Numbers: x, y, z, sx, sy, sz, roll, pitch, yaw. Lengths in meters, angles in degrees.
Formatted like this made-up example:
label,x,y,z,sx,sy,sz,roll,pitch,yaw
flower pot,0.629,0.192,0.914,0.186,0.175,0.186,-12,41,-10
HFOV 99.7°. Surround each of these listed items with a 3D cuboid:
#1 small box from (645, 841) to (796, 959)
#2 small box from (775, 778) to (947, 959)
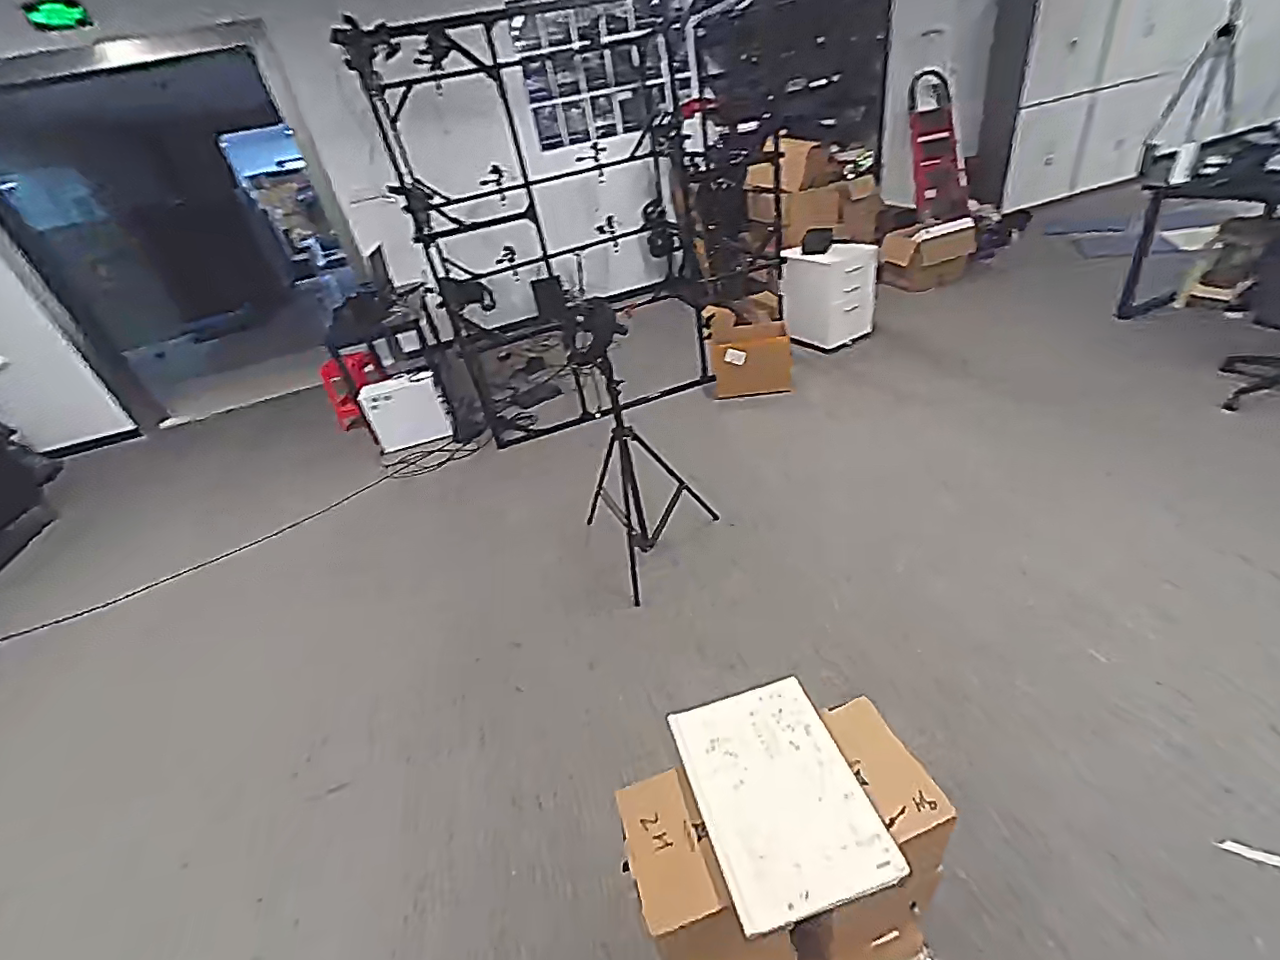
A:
label,x,y,z,sx,sy,sz,roll,pitch,yaw
small box,0.118,0.668,0.785,0.179,0.176,0.168,-16,35,-3
small box,0.320,0.601,0.821,0.179,0.176,0.168,-19,35,-12
